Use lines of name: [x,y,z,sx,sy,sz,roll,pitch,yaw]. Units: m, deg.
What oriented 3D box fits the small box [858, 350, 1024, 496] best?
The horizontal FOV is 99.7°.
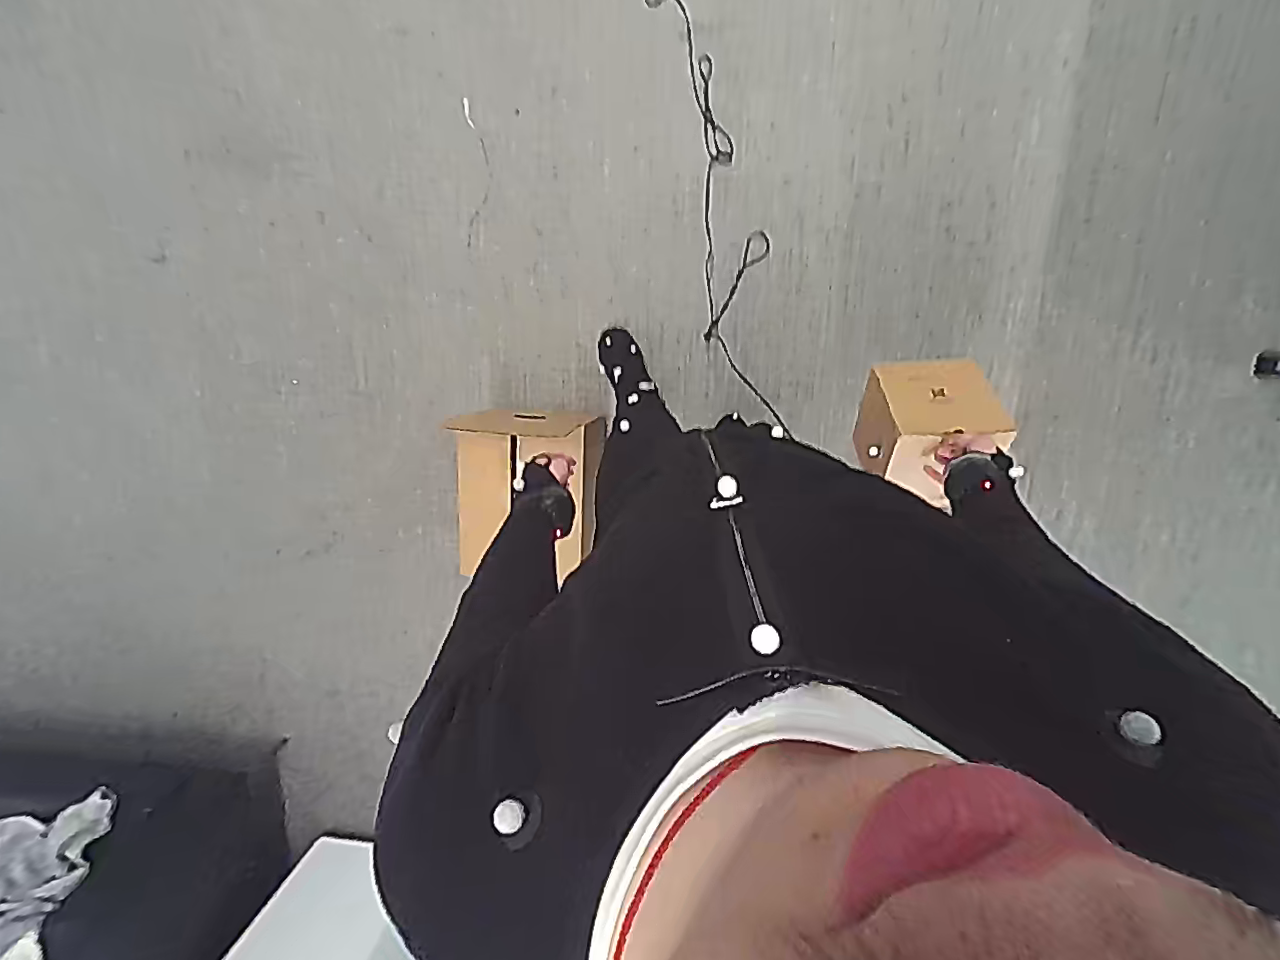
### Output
small box: [0.467,-0.089,0.872,0.168,0.179,0.176,1,138,6]
